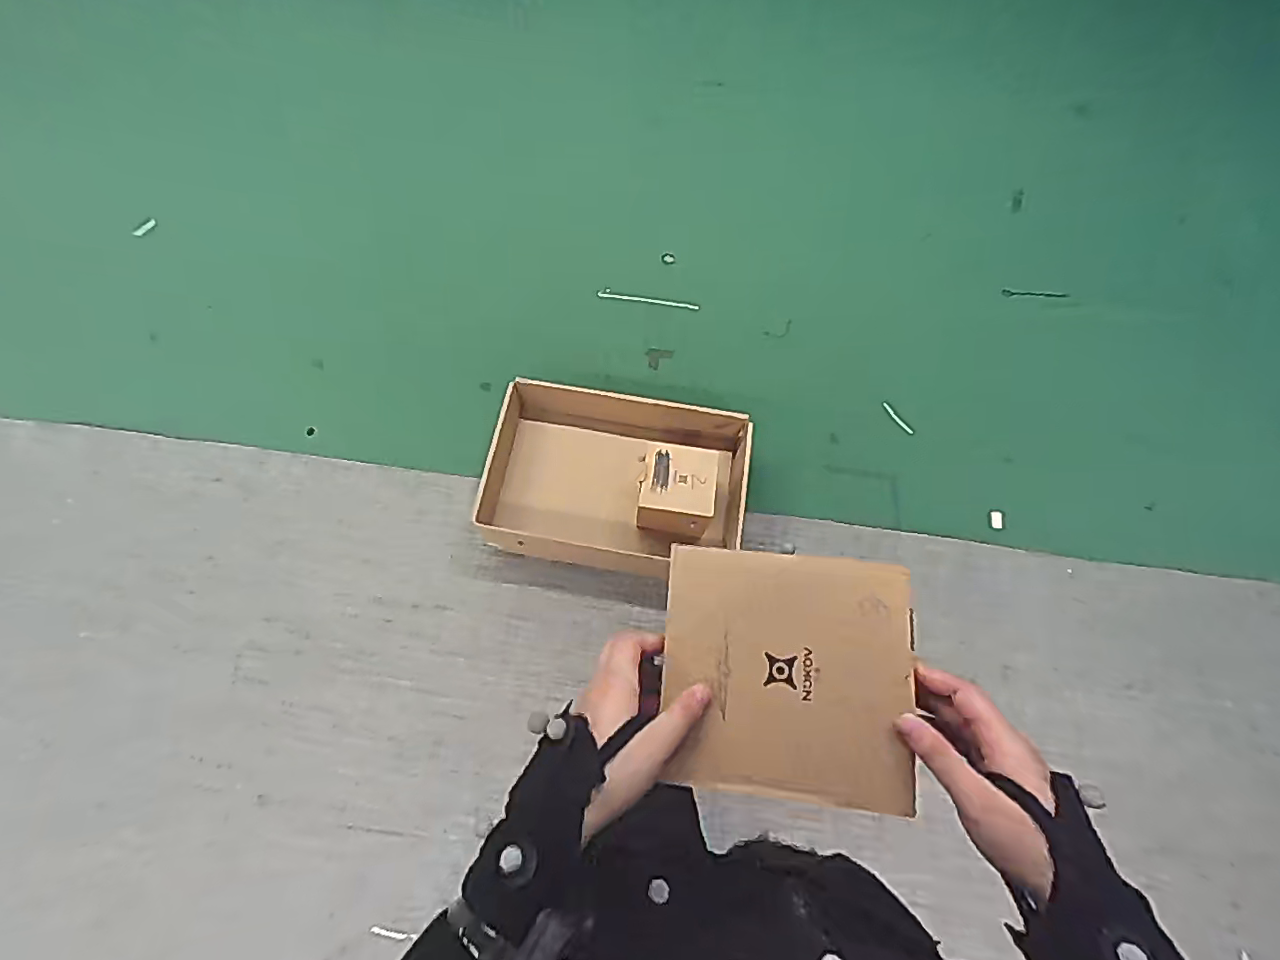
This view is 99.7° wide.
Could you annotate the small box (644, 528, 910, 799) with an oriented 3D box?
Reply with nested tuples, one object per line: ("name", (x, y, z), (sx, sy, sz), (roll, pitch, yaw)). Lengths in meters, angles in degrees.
("small box", (0.104, 0.140, 0.453), (0.179, 0.176, 0.168), (4, 76, 7))
